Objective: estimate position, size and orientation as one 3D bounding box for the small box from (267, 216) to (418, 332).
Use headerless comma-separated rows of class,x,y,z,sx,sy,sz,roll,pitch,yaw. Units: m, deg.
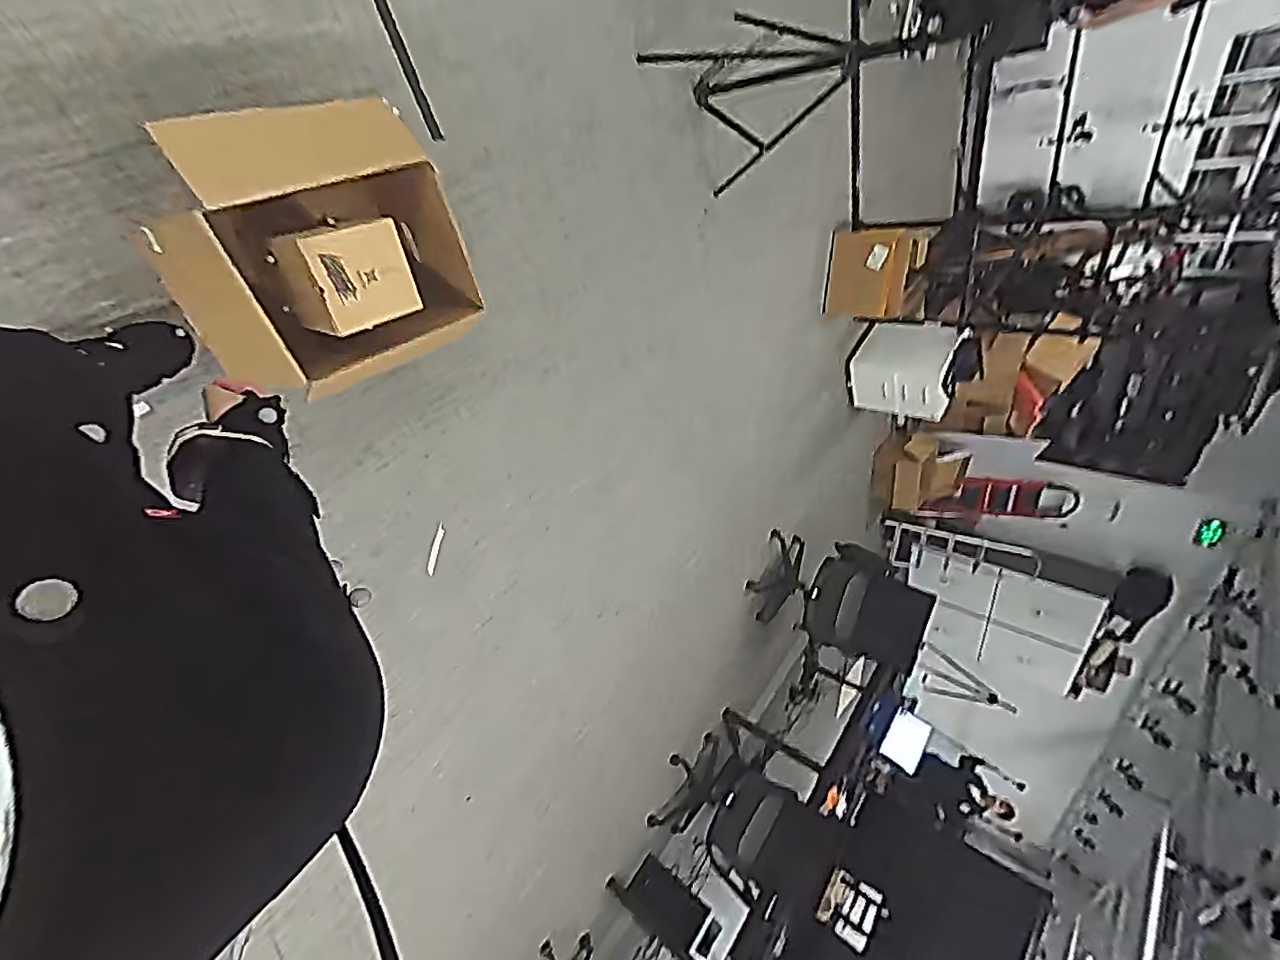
small box,-0.564,-0.393,1.021,0.179,0.176,0.168,-39,135,-38
